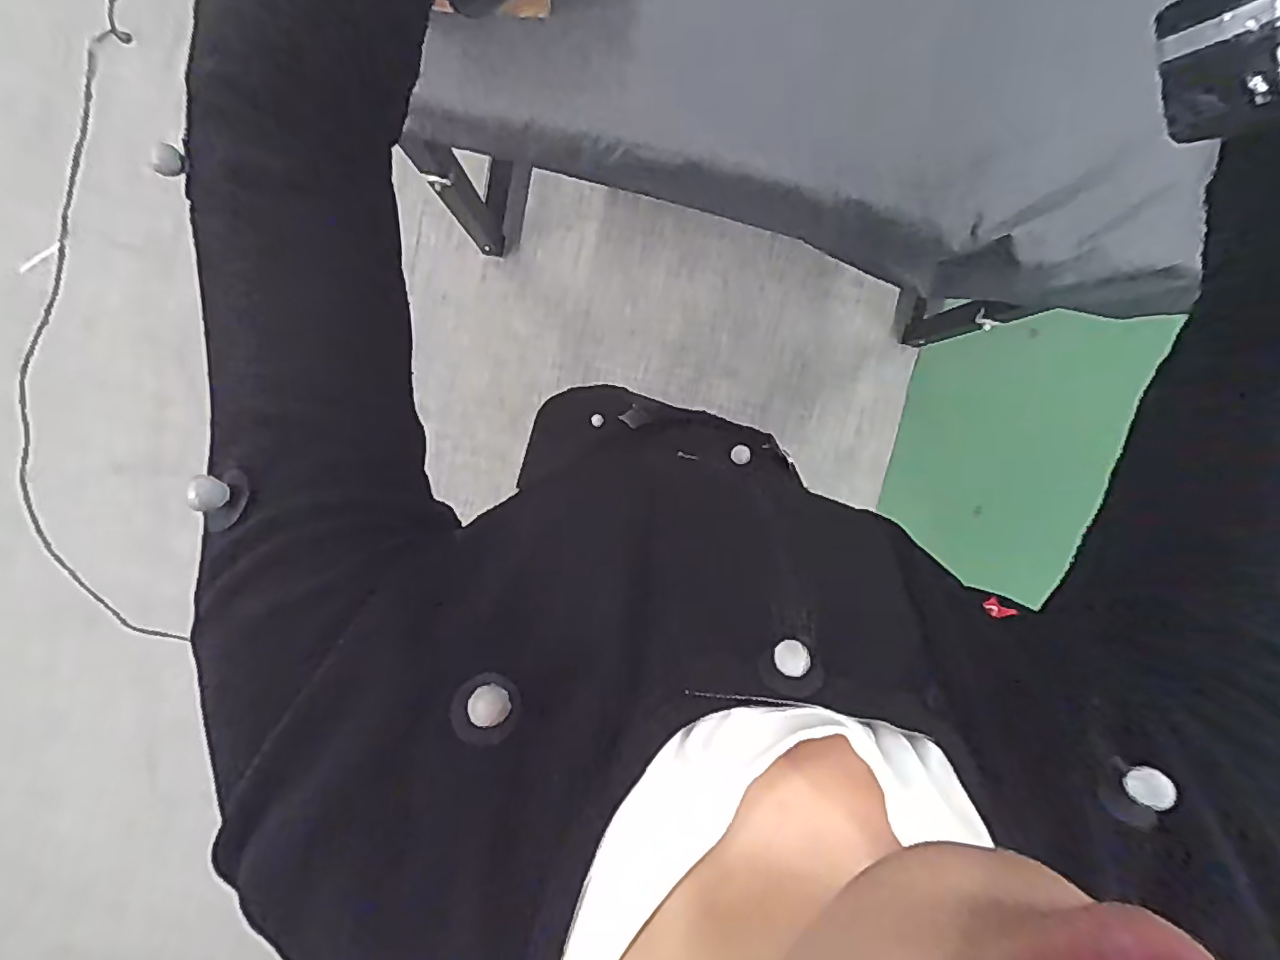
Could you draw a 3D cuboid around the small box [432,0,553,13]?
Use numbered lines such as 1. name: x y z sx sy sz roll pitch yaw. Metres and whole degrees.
1. small box: -0.186 -0.647 0.574 0.179 0.176 0.168 1 96 -5
